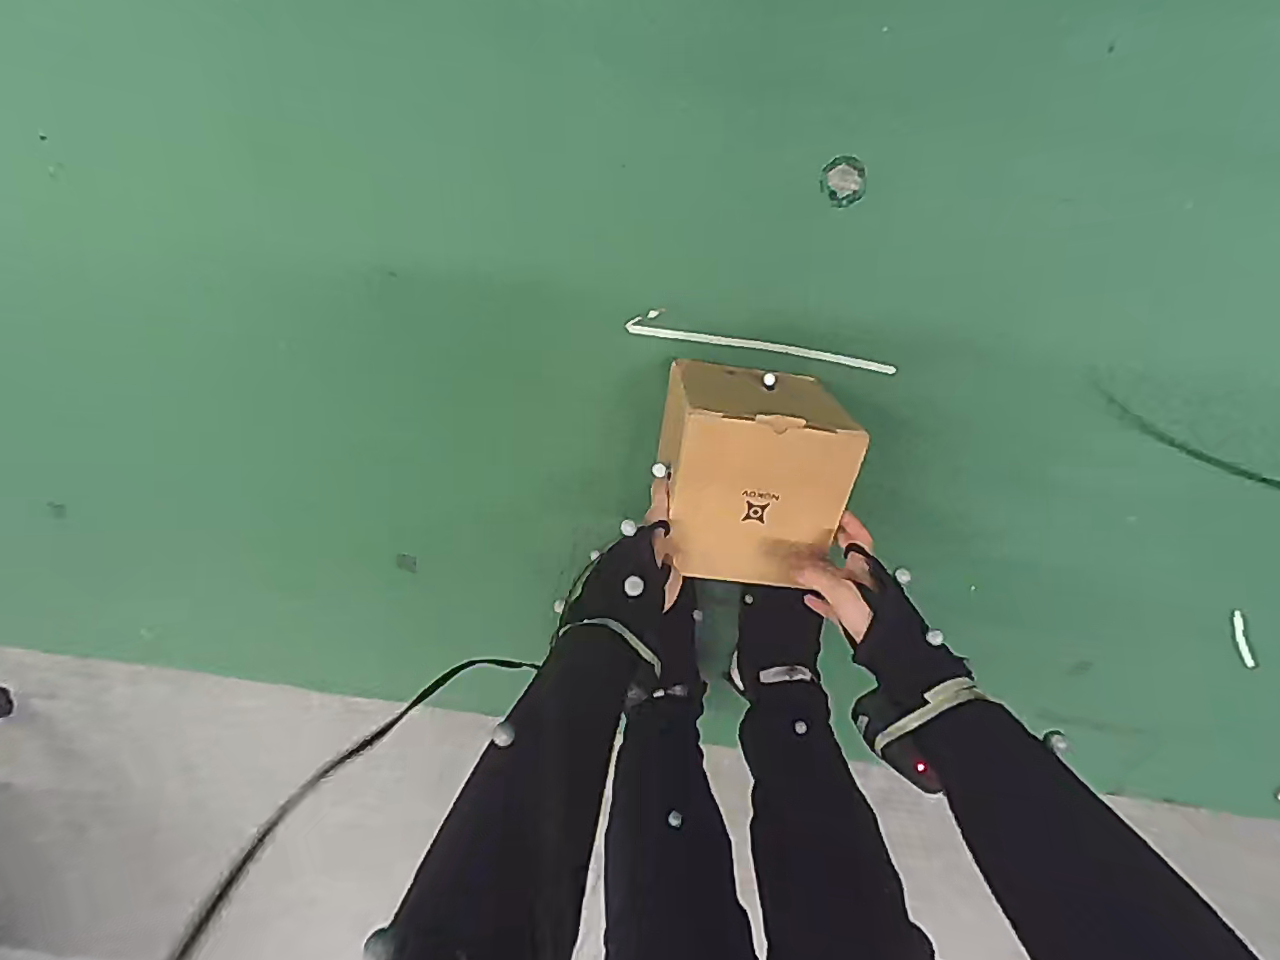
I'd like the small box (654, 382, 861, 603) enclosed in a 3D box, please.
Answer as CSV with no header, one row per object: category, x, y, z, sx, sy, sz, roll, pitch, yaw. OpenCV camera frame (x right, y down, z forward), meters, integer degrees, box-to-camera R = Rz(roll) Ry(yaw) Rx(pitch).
small box,0.108,0.006,0.590,0.168,0.176,0.179,7,114,-4
